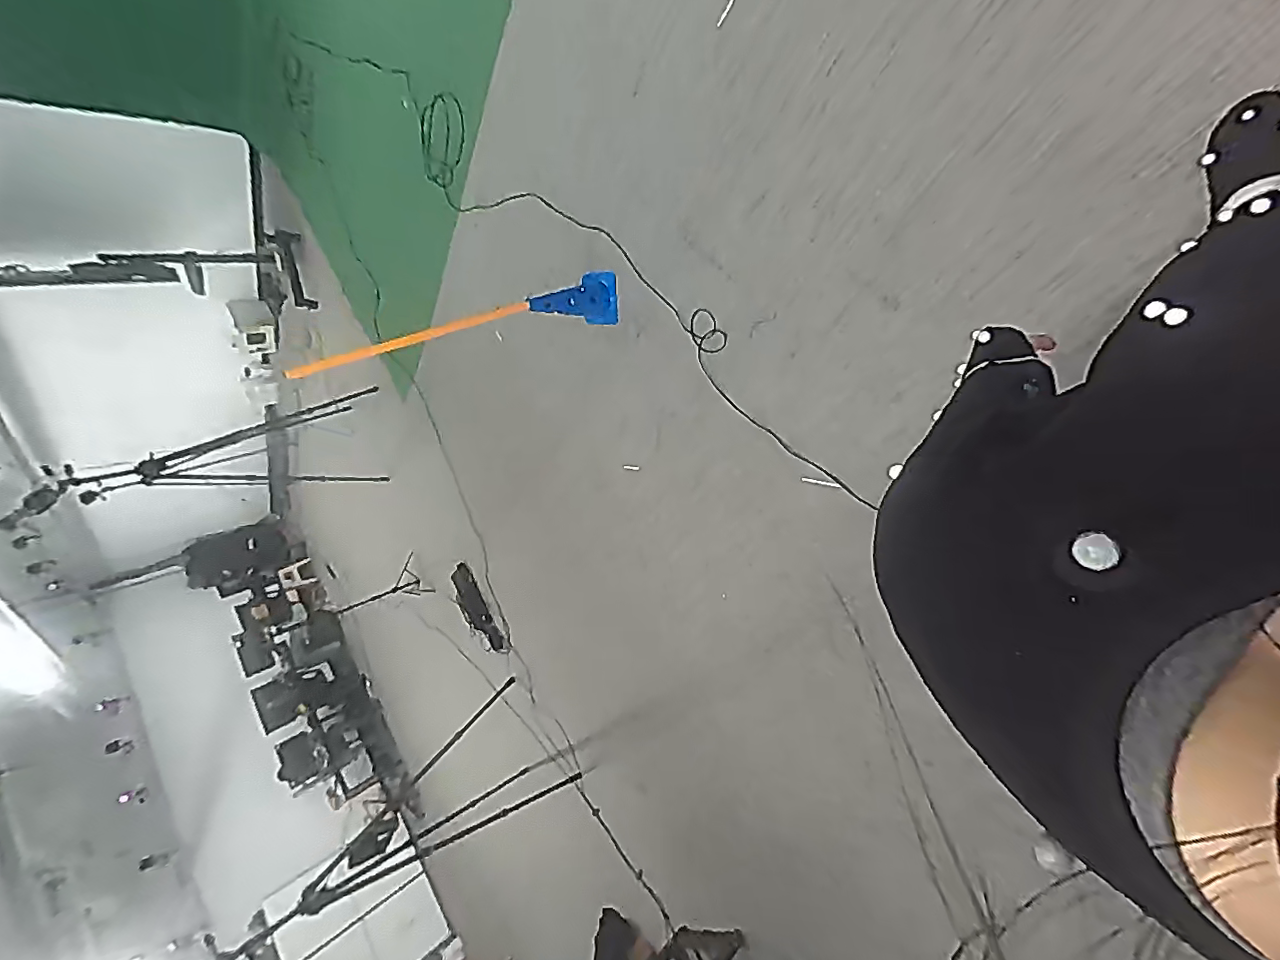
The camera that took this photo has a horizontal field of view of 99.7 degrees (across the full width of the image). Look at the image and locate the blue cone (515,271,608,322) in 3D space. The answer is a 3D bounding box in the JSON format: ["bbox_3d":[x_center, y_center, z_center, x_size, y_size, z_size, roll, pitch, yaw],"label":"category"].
[{"bbox_3d":[-0.308,-0.688,2.067,0.192,0.380,0.193,14,118,42],"label":"blue cone"}]
